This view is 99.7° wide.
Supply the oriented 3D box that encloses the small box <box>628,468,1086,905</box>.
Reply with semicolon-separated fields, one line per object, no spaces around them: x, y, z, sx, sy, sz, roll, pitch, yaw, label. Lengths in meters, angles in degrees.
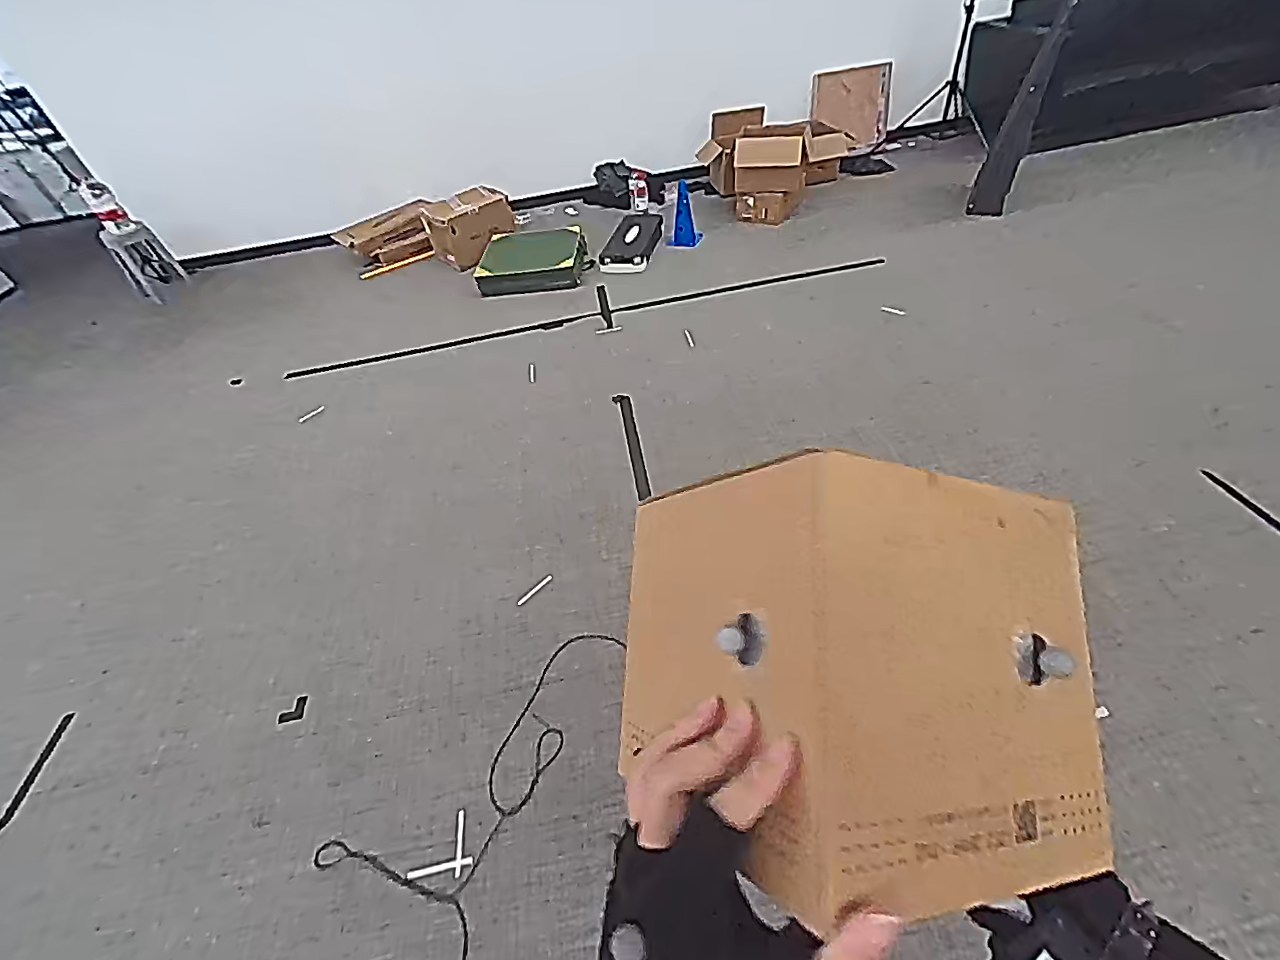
0.104;0.101;0.300;0.168;0.179;0.176;11;76;-24;small box
